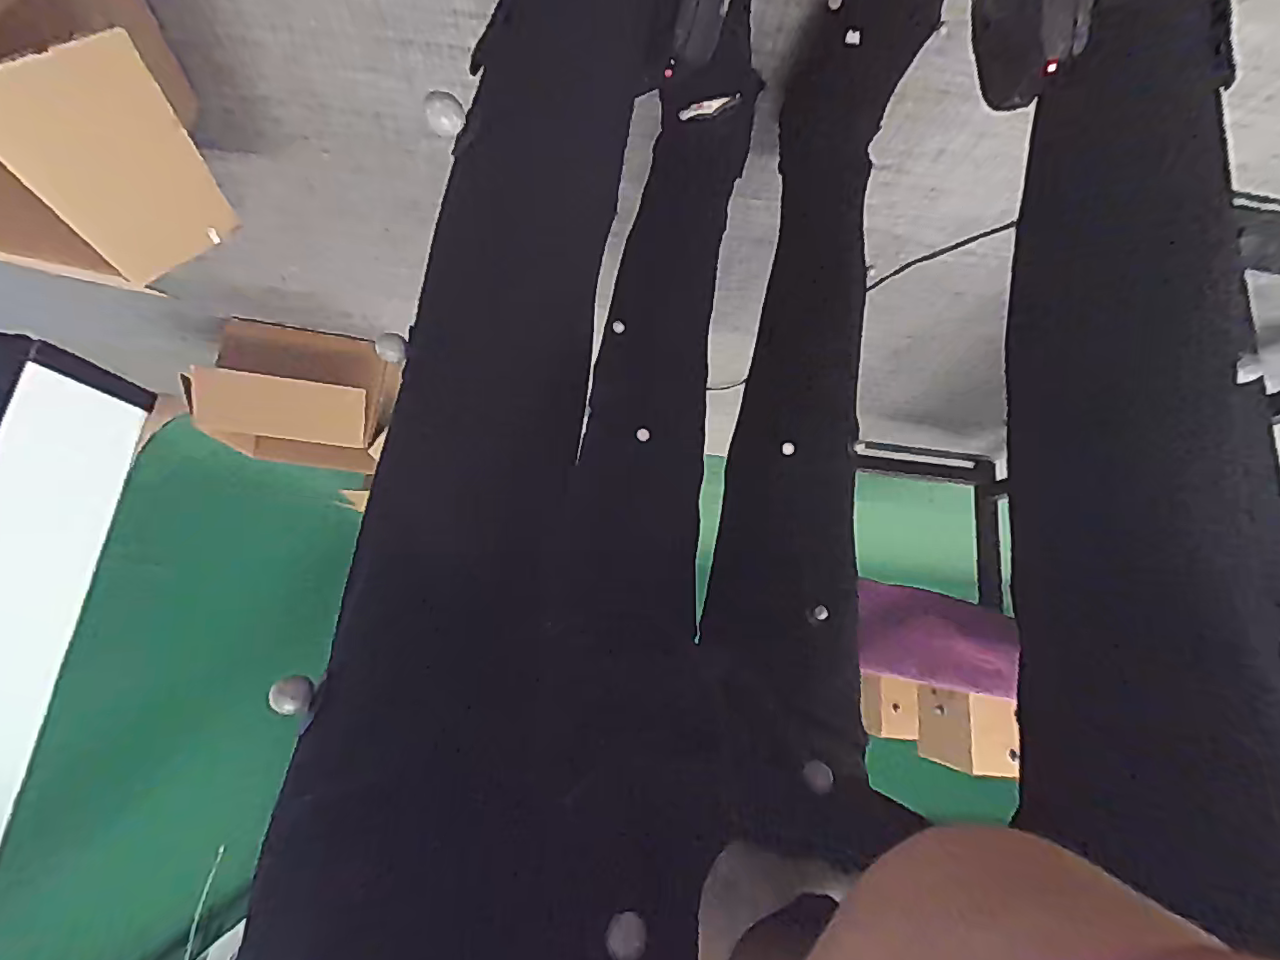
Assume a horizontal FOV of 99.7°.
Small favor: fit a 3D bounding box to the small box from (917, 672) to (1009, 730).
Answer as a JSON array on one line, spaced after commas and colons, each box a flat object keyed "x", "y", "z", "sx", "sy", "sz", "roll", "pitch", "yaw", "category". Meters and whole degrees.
[{"x": 0.920, "y": 0.649, "z": 1.542, "sx": 0.179, "sy": 0.176, "sz": 0.168, "roll": 10, "pitch": 166, "yaw": -10, "category": "small box"}]

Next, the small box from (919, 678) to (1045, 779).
[{"x": 0.749, "y": 0.542, "z": 1.197, "sx": 0.179, "sy": 0.176, "sz": 0.168, "roll": 8, "pitch": 165, "yaw": -8, "category": "small box"}]
